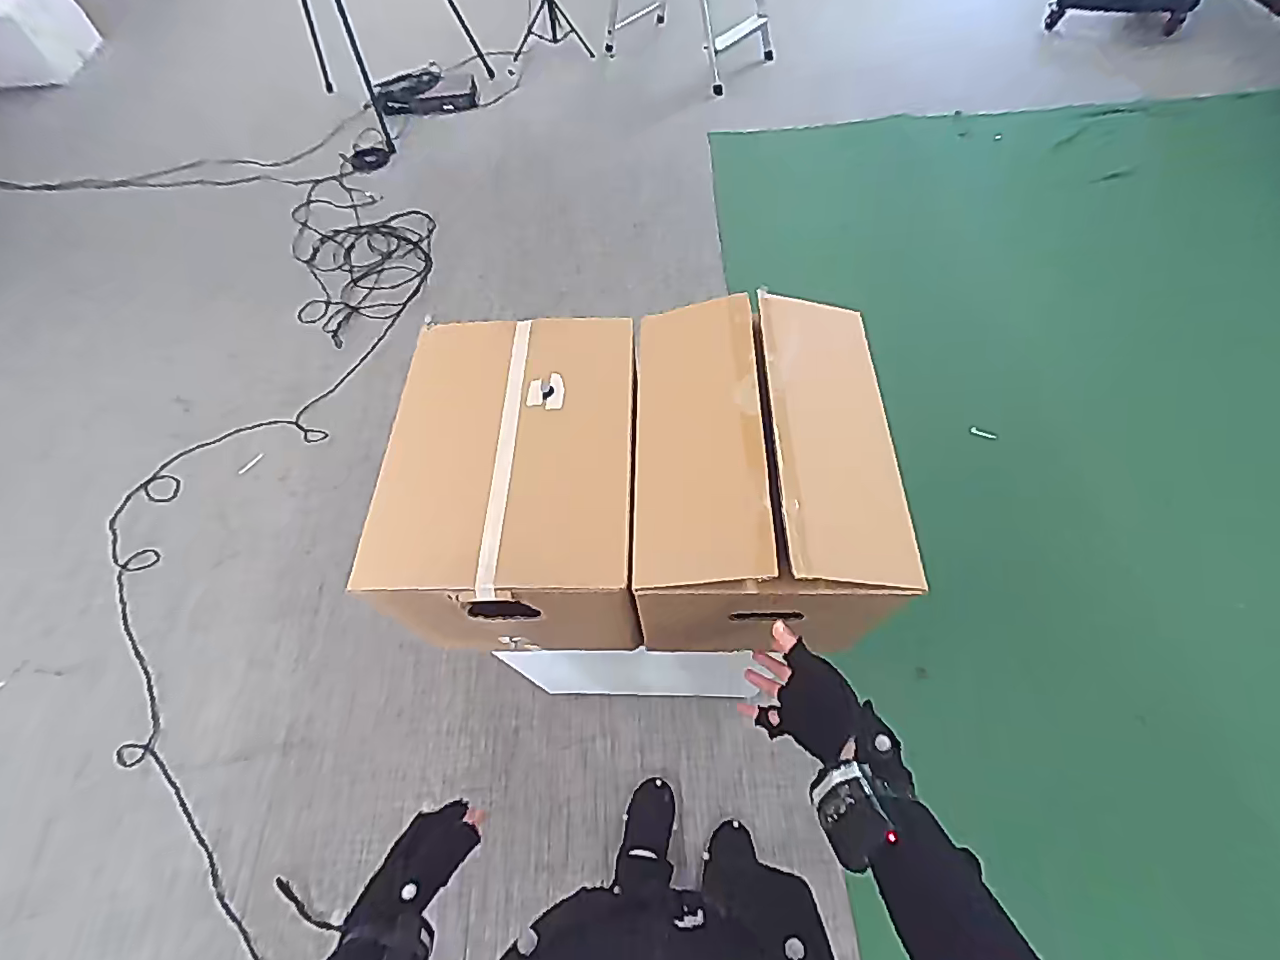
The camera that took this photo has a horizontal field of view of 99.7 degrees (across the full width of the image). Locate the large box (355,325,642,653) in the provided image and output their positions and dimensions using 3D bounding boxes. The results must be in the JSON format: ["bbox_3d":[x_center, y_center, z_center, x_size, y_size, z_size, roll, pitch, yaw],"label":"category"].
[{"bbox_3d":[-0.162,0.025,0.824,0.320,0.320,0.408,-1,59,3],"label":"large box"}]
